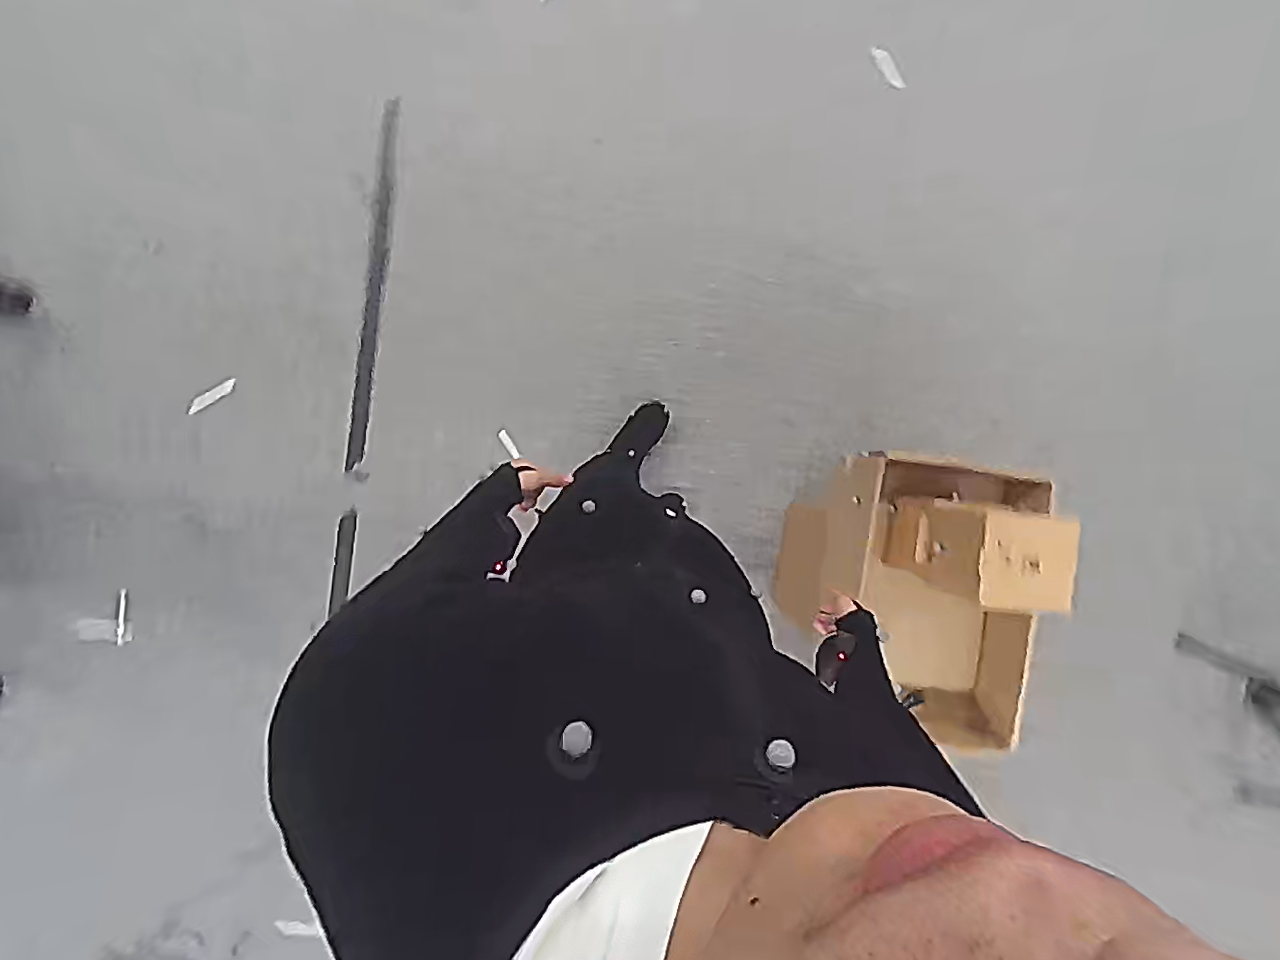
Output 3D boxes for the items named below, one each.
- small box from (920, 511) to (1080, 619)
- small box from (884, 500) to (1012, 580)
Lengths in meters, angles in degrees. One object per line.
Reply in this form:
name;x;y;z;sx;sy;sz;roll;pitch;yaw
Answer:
small box;0.666;0.151;1.016;0.179;0.176;0.168;6;92;-4
small box;0.661;0.138;1.181;0.179;0.176;0.168;7;92;-5
